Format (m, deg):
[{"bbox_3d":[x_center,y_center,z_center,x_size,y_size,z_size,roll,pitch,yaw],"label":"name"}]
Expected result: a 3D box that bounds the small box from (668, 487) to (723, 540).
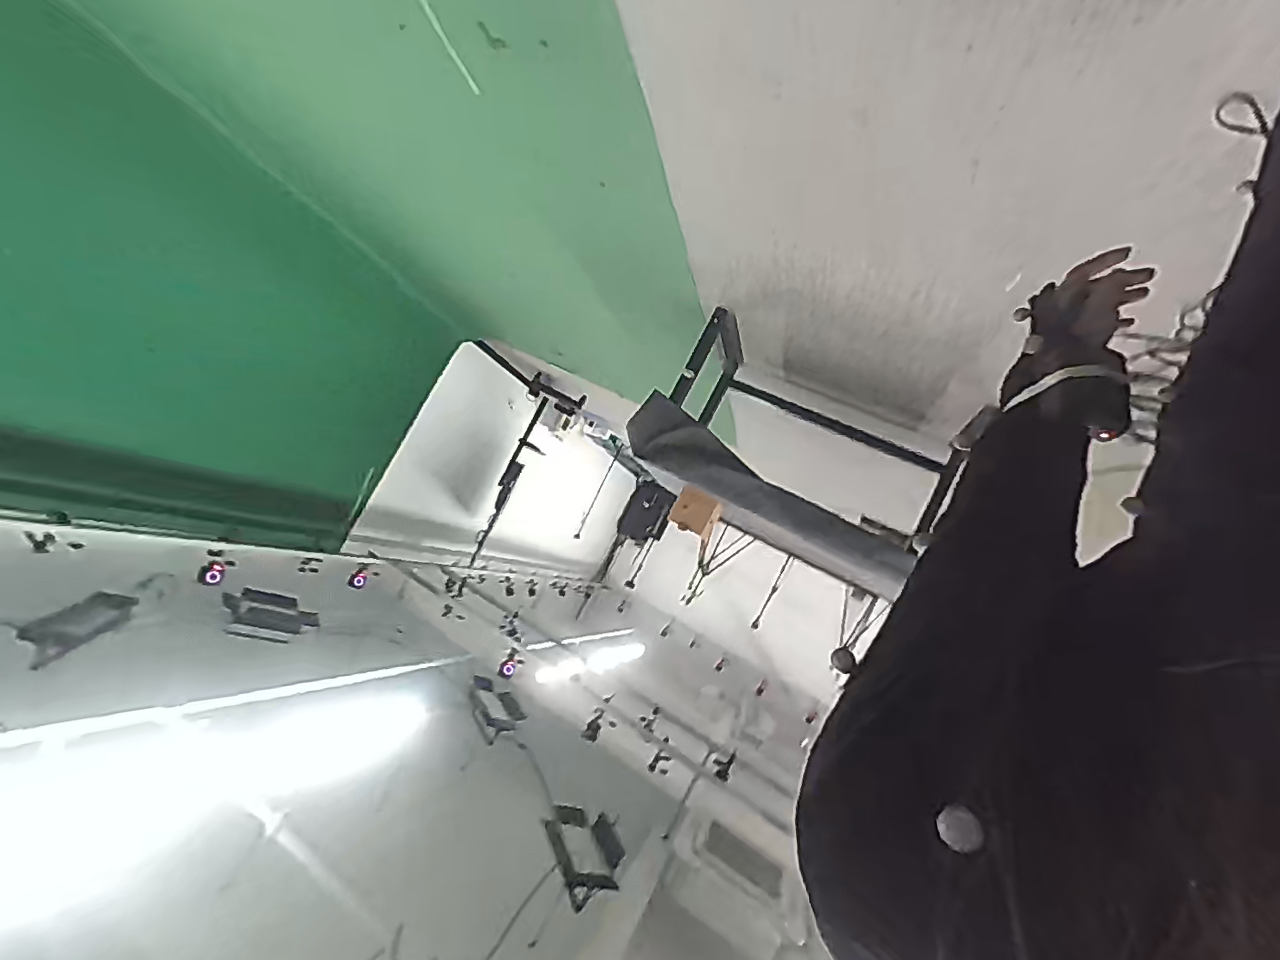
[{"bbox_3d":[0.247,0.144,2.355,0.168,0.176,0.179,28,177,20],"label":"small box"}]
